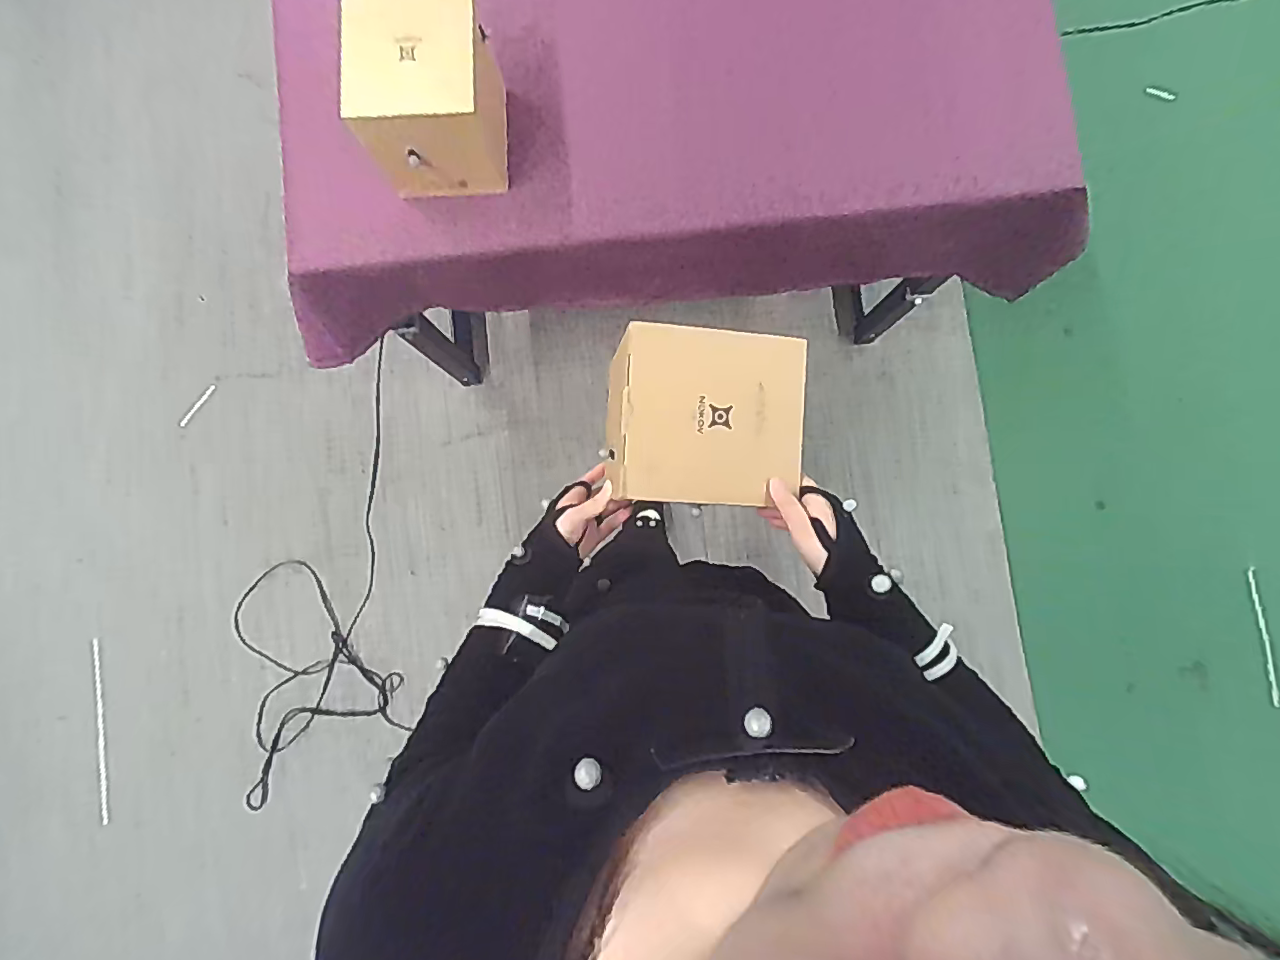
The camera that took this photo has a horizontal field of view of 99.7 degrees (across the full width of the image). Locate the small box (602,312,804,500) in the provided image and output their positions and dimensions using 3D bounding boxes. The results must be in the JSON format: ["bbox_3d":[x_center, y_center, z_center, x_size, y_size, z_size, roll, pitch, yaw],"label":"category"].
[{"bbox_3d":[0.055,-0.066,0.582,0.179,0.176,0.168,4,89,-9],"label":"small box"}]

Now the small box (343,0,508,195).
[{"bbox_3d":[-0.284,-0.520,0.749,0.168,0.176,0.179,-2,84,0],"label":"small box"}]
